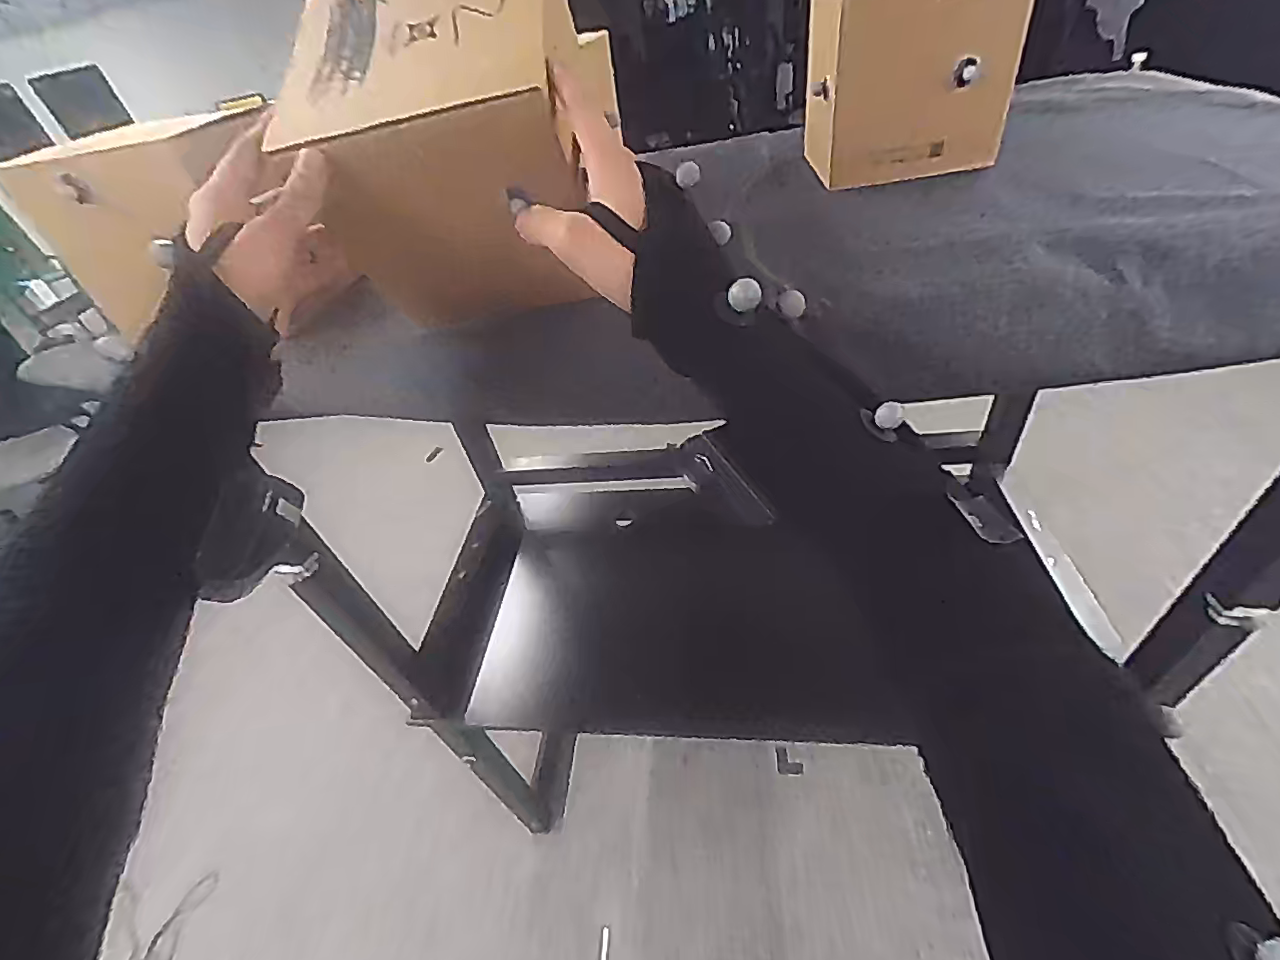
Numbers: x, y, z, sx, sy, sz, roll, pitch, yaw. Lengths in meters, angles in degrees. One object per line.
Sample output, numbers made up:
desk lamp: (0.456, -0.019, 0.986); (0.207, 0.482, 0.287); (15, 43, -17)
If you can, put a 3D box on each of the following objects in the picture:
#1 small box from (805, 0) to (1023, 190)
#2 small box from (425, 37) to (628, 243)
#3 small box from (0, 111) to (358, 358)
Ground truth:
small box: (0.276, -0.428, 0.582); (0.168, 0.176, 0.179); (-4, 42, 8)
small box: (-0.118, -0.407, 0.656); (0.179, 0.176, 0.168); (-3, 42, 11)
small box: (-0.413, -0.238, 0.529); (0.168, 0.176, 0.179); (-5, 41, 9)
